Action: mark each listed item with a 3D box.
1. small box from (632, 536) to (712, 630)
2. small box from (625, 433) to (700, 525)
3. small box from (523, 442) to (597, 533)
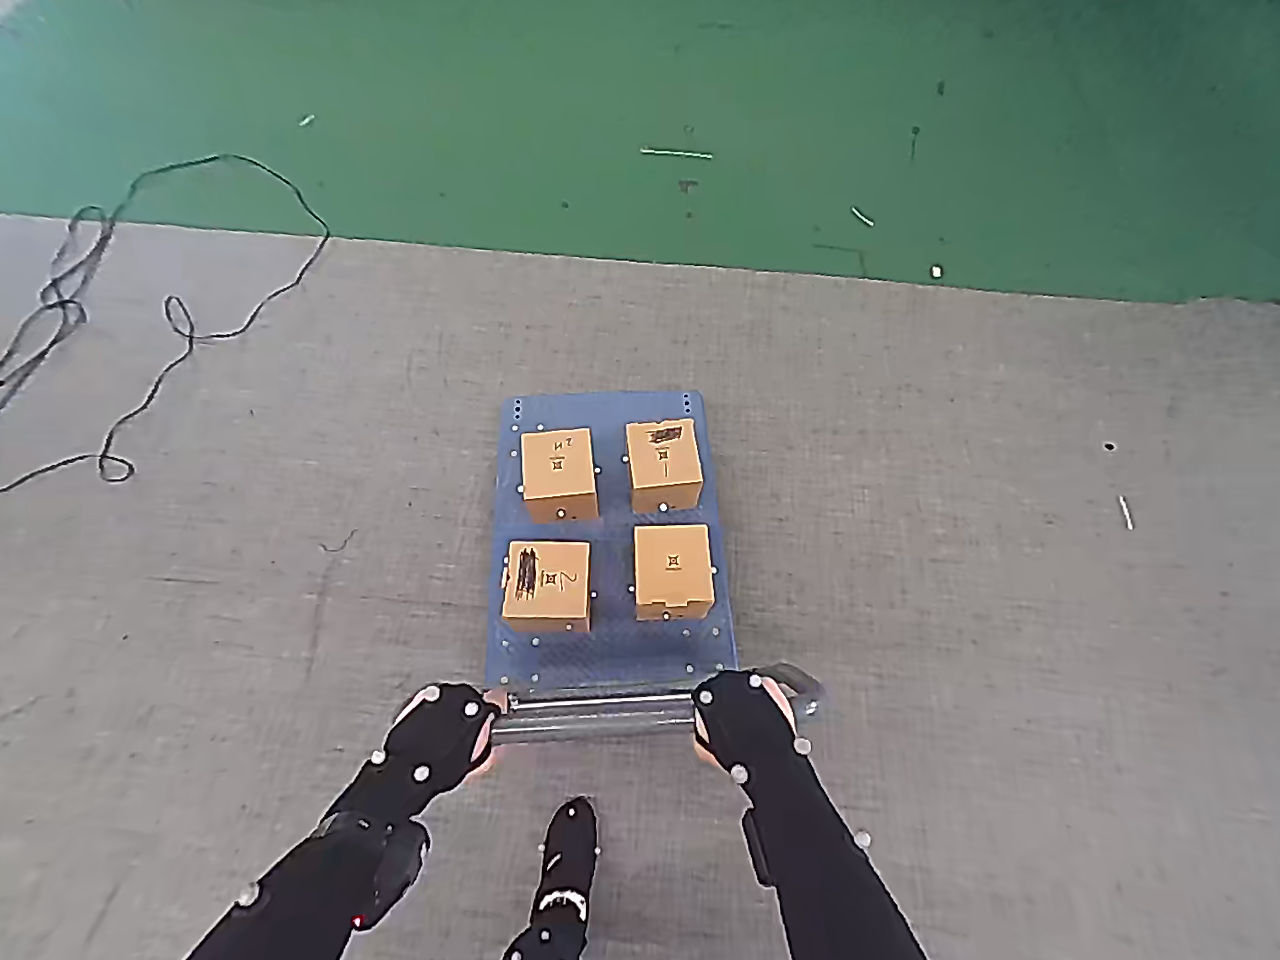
[{"bbox_3d":[0.067,0.243,1.260,0.168,0.176,0.179,-1,64,-3],"label":"small box"},{"bbox_3d":[0.051,0.000,1.379,0.168,0.176,0.179,-6,65,-4],"label":"small box"},{"bbox_3d":[-0.199,0.026,1.358,0.168,0.176,0.179,-5,64,-5],"label":"small box"}]
